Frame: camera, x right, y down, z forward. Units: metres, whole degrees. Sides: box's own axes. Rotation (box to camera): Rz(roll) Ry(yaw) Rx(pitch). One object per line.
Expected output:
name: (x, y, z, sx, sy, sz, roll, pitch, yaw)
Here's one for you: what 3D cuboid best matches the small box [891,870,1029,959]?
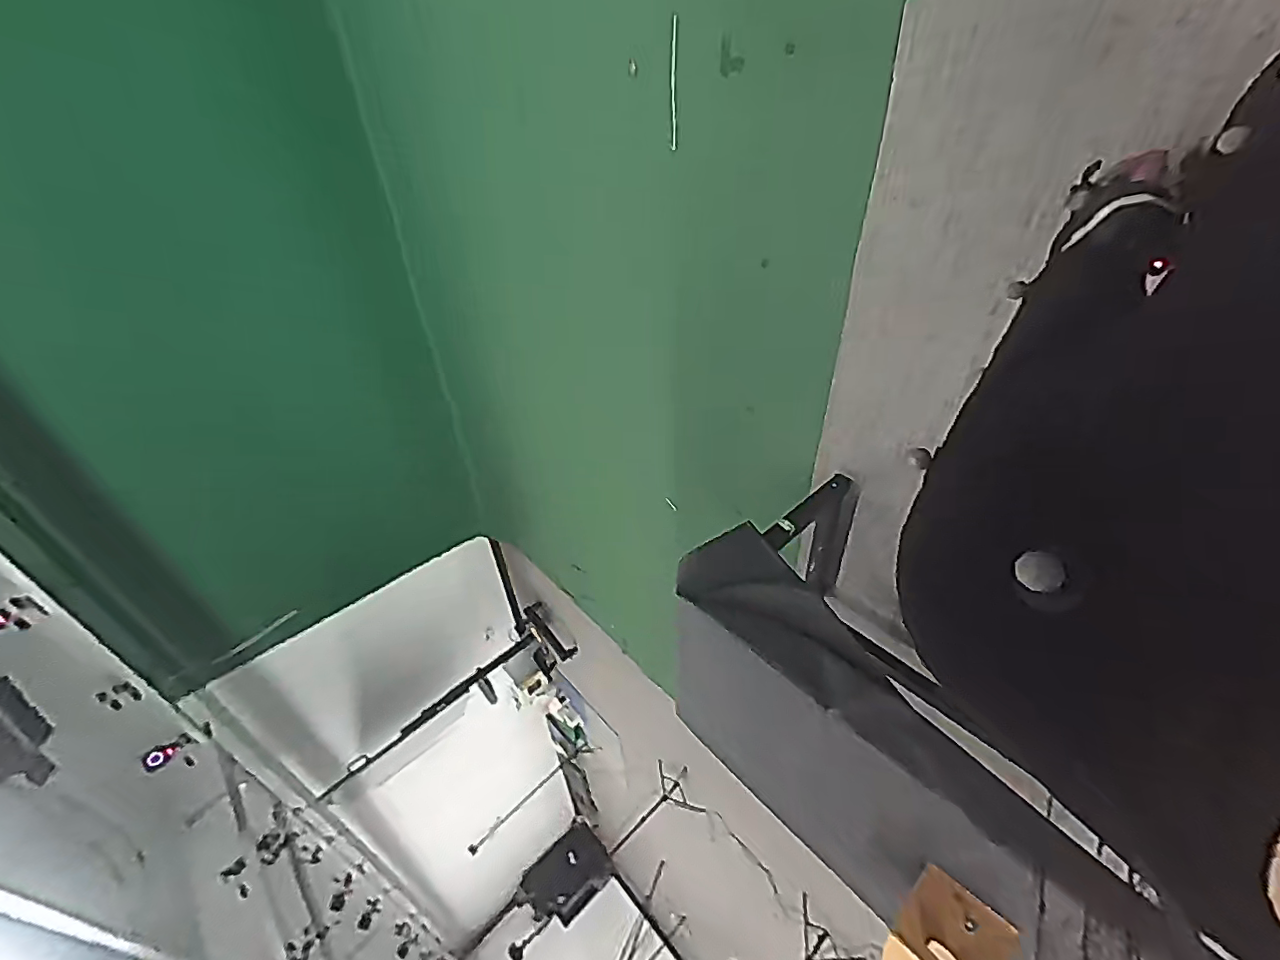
small box: (0.601, 0.901, 1.023, 0.168, 0.176, 0.179, 26, 136, 43)
